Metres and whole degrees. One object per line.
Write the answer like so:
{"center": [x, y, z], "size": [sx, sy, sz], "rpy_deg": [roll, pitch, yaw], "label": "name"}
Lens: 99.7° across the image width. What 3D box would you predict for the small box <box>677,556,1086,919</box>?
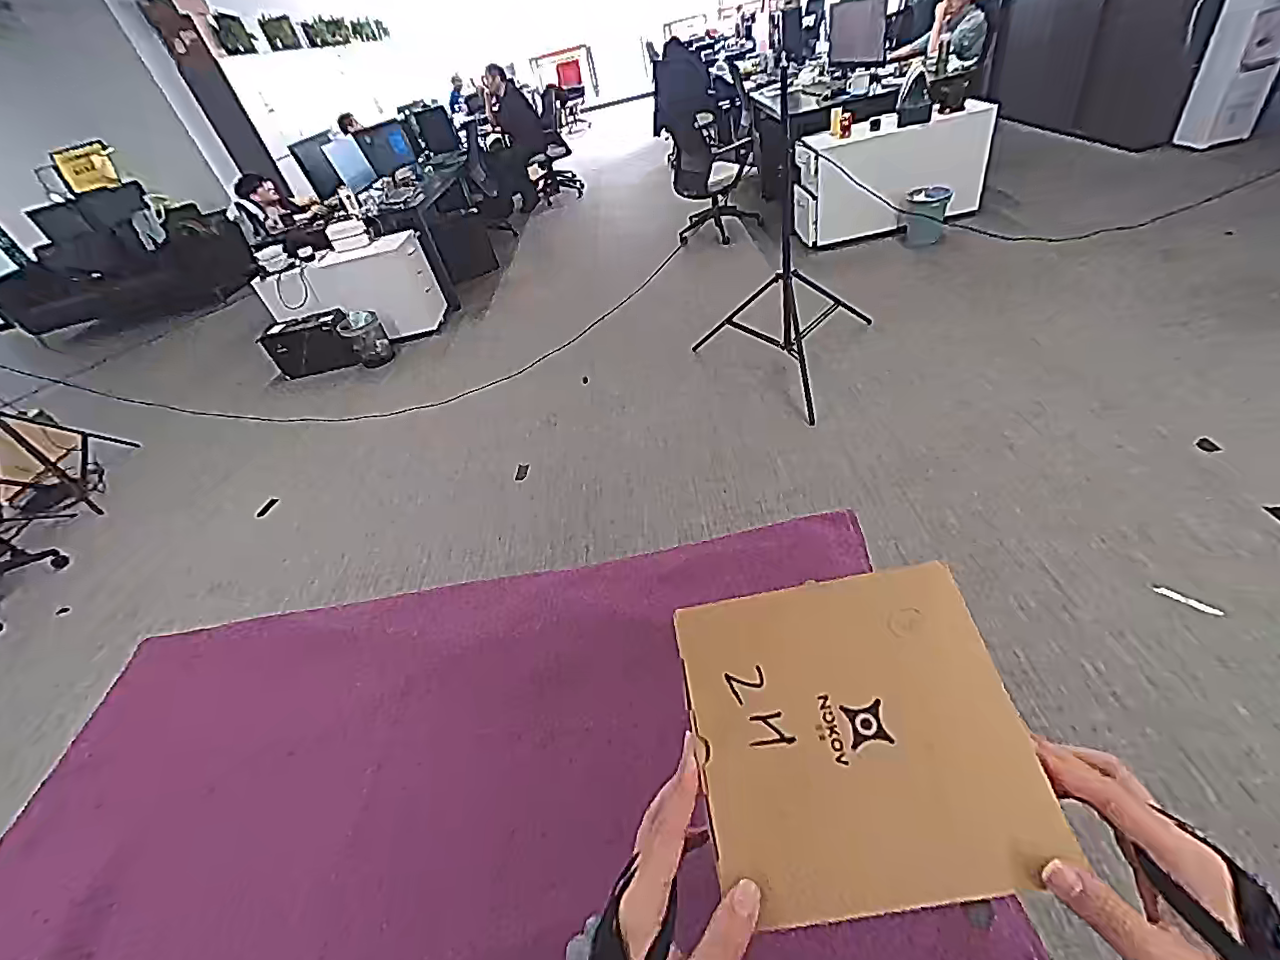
{"center": [0.130, 0.171, 0.368], "size": [0.179, 0.176, 0.168], "rpy_deg": [-12, 58, 5], "label": "small box"}
